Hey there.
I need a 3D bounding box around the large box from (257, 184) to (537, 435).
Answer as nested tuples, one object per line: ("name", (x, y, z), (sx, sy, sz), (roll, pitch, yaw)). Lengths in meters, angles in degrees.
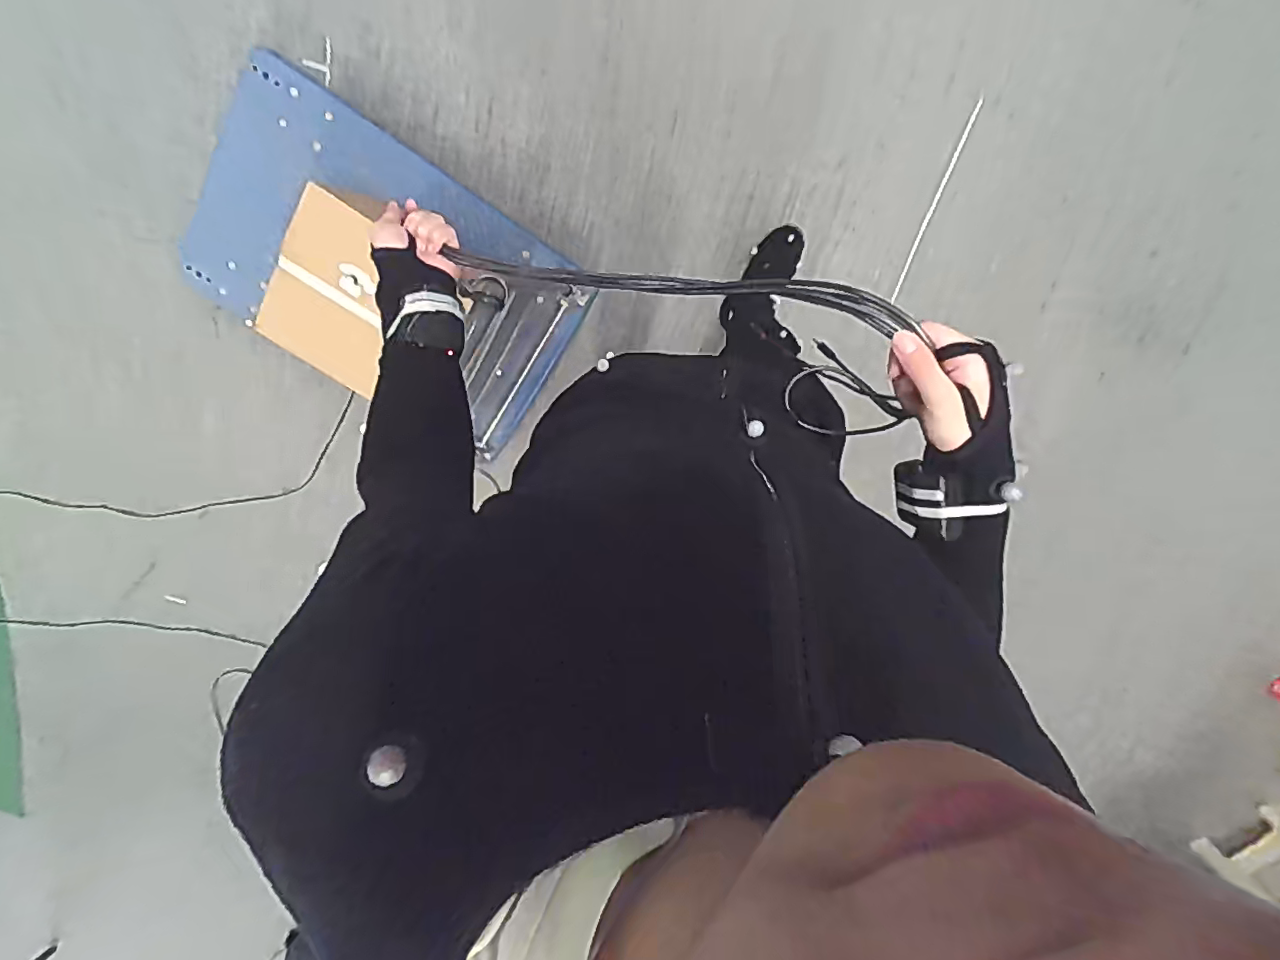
("large box", (-0.495, -0.360, 1.175), (0.408, 0.320, 0.320), (33, 108, -9))
